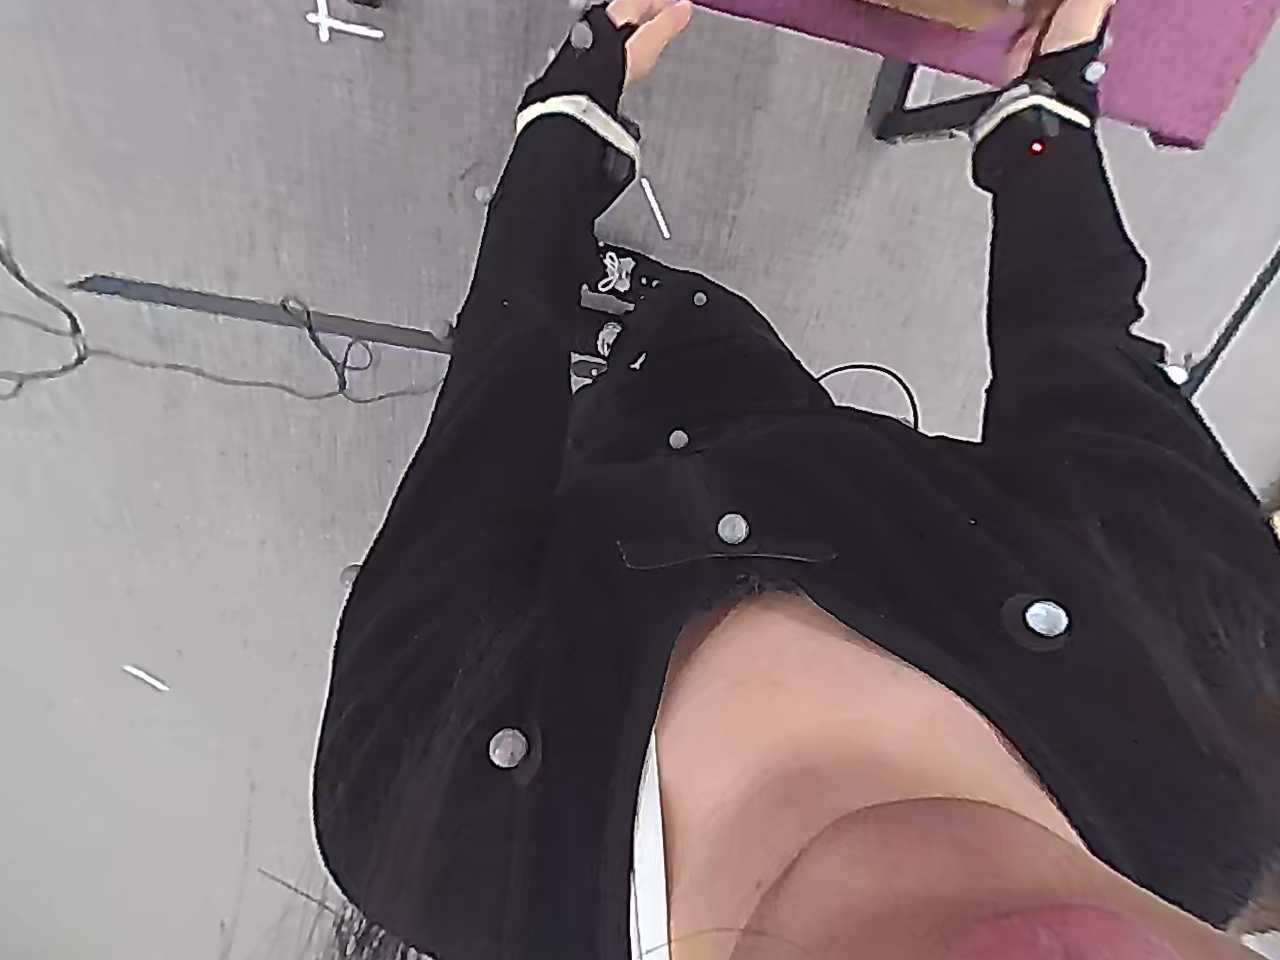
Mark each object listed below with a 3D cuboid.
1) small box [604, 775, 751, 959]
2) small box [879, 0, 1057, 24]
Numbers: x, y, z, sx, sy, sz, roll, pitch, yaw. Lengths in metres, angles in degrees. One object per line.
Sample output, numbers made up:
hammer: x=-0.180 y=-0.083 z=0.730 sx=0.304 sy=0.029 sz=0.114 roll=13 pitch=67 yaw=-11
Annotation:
small box: x=0.042 y=0.564 z=0.789 sx=0.168 sy=0.176 sz=0.179 roll=7 pitch=118 yaw=-11
small box: x=0.293 y=-0.506 z=0.438 sx=0.179 sy=0.176 sz=0.168 roll=7 pitch=117 yaw=-9
